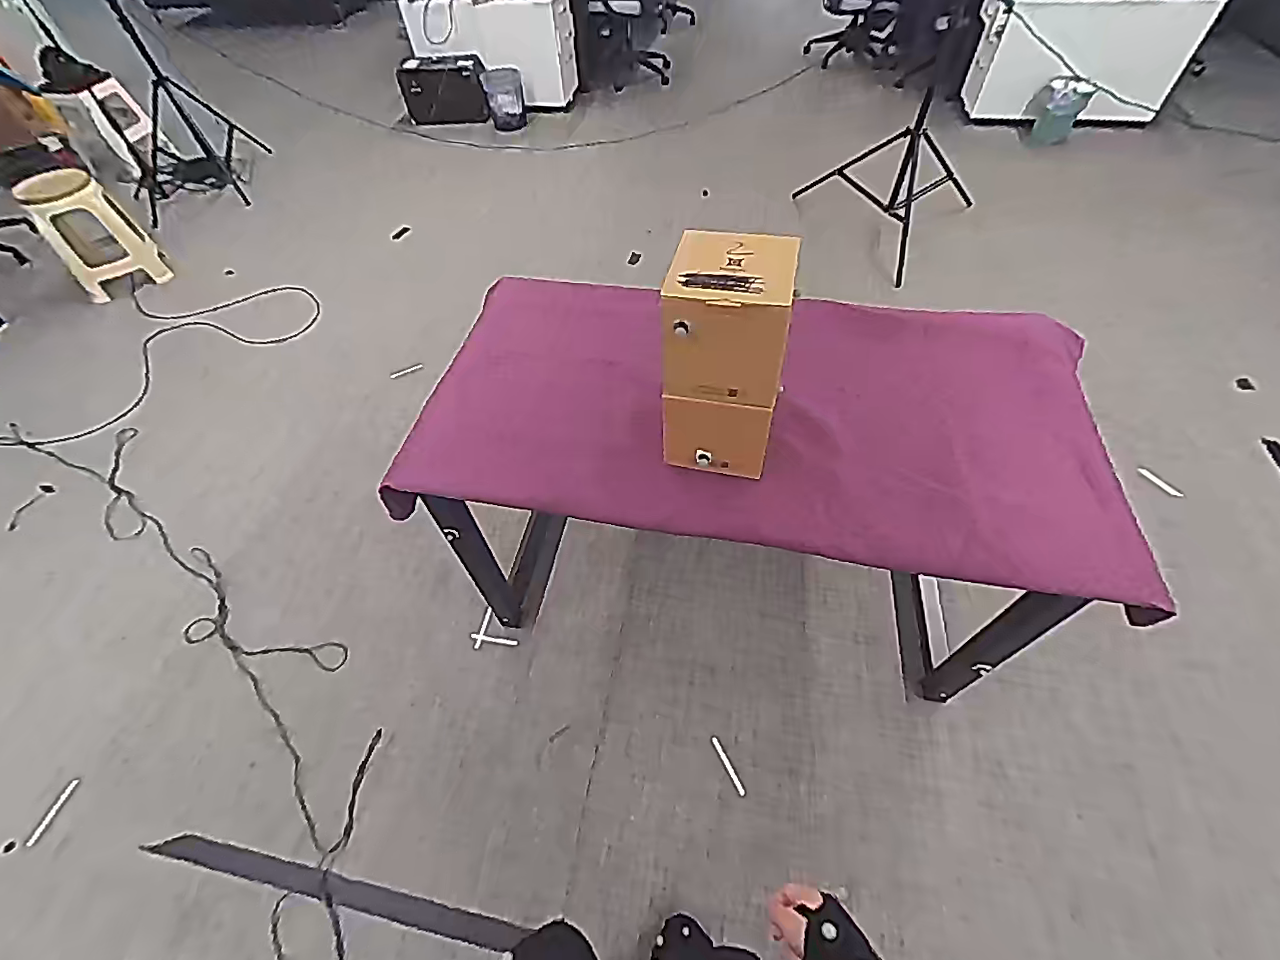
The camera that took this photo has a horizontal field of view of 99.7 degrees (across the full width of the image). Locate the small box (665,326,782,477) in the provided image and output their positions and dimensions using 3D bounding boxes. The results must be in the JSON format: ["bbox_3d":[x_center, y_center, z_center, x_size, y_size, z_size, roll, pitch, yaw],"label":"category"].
[{"bbox_3d":[0.138,-0.131,0.912,0.168,0.176,0.179,9,54,11],"label":"small box"}]
